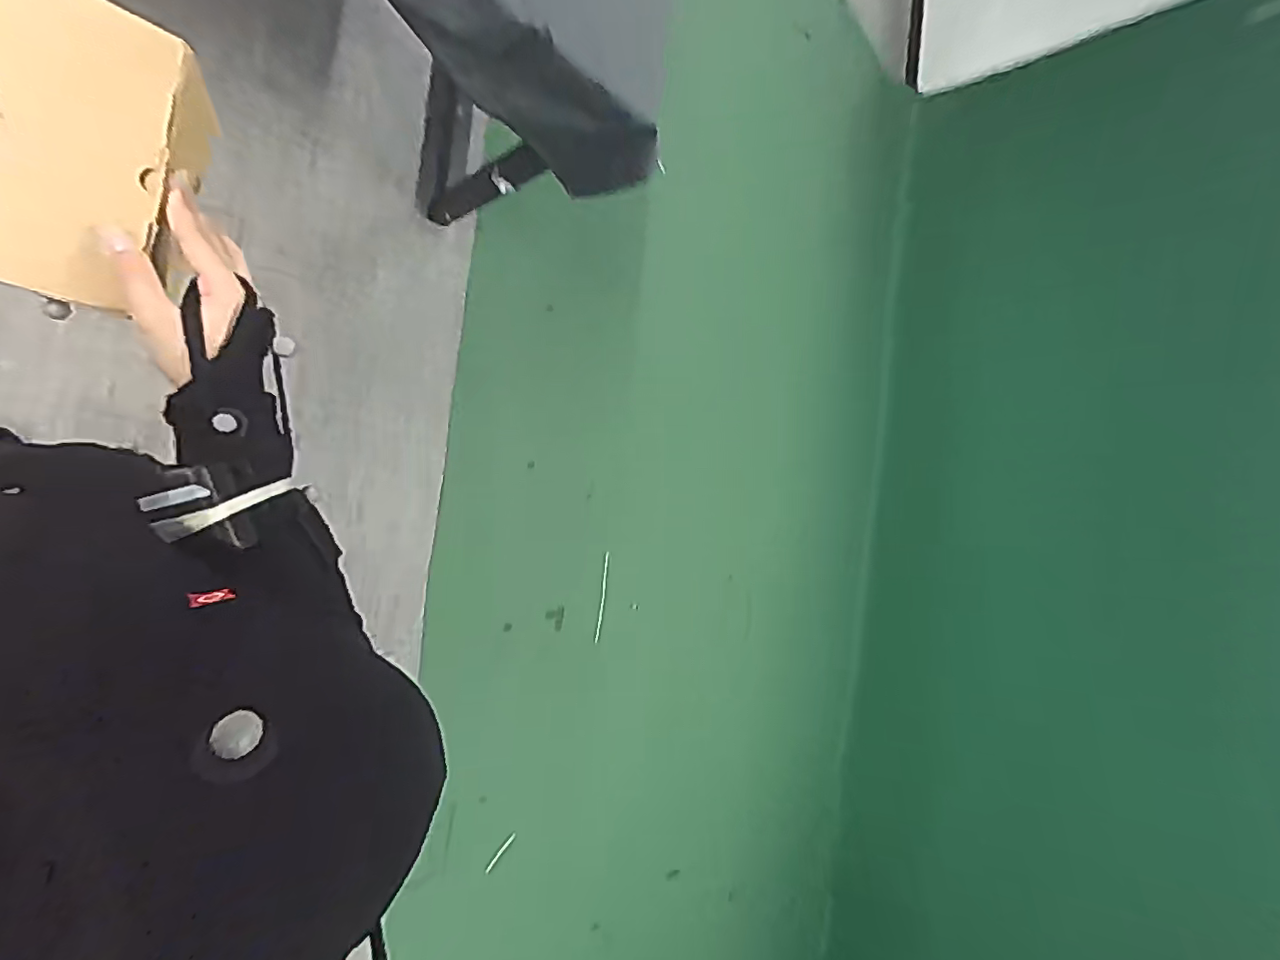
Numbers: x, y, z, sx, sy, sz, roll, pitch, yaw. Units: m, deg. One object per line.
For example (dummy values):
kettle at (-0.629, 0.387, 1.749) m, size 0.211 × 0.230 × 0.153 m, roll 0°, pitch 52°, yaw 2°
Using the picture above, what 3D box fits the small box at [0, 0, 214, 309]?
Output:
small box at (-0.395, -0.215, 0.334) m, size 0.179 × 0.176 × 0.168 m, roll 14°, pitch 97°, yaw -37°
